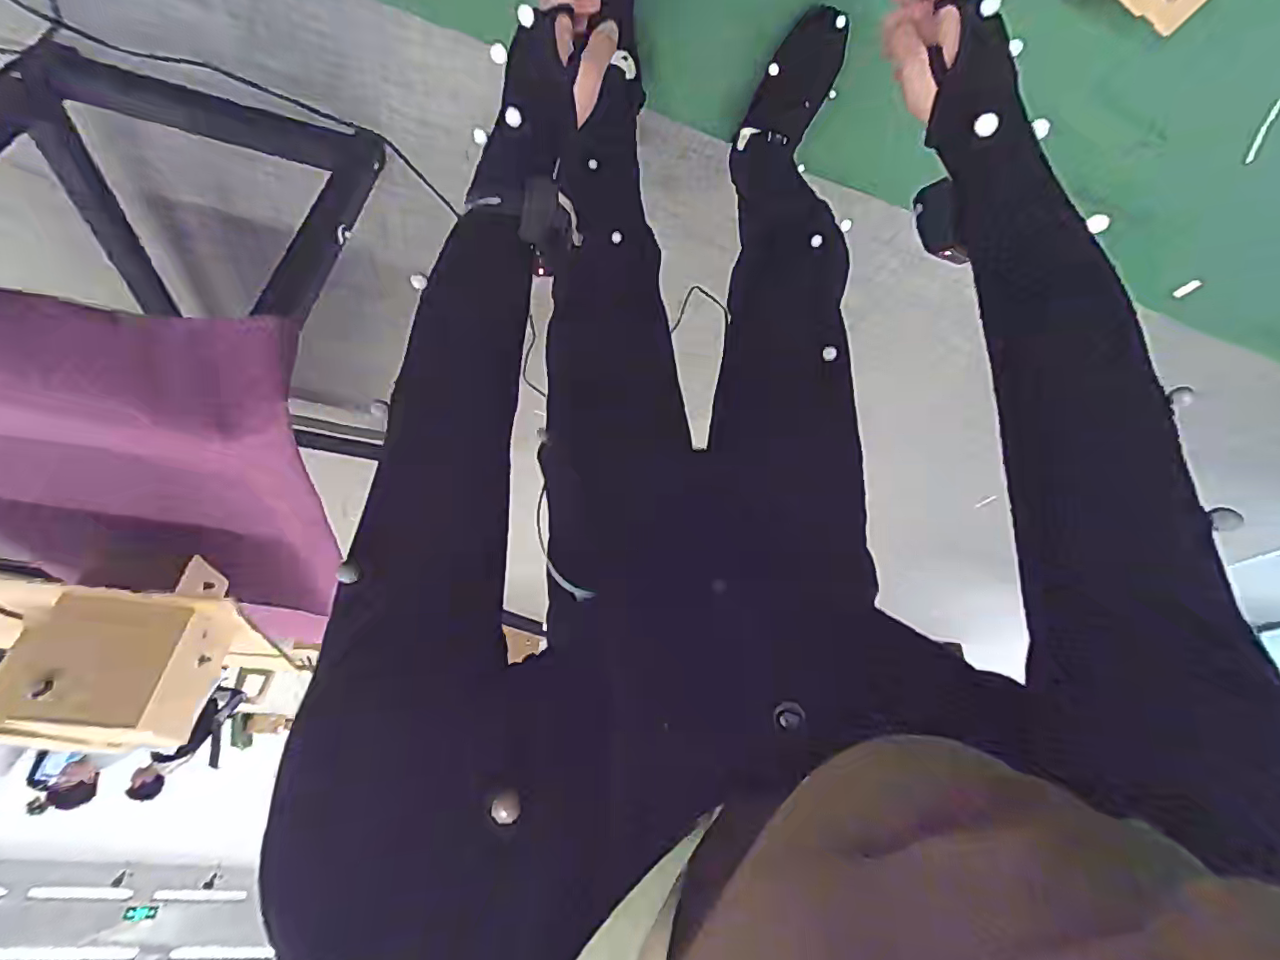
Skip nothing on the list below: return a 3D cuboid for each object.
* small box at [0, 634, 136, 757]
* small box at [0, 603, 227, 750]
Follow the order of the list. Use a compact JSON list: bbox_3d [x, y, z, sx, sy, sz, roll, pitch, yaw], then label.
[{"bbox_3d":[-0.978,0.376,0.941,0.179,0.176,0.168,10,145,-11],"label":"small box"},{"bbox_3d":[-0.769,0.292,0.801,0.179,0.176,0.168,10,146,-12],"label":"small box"}]
